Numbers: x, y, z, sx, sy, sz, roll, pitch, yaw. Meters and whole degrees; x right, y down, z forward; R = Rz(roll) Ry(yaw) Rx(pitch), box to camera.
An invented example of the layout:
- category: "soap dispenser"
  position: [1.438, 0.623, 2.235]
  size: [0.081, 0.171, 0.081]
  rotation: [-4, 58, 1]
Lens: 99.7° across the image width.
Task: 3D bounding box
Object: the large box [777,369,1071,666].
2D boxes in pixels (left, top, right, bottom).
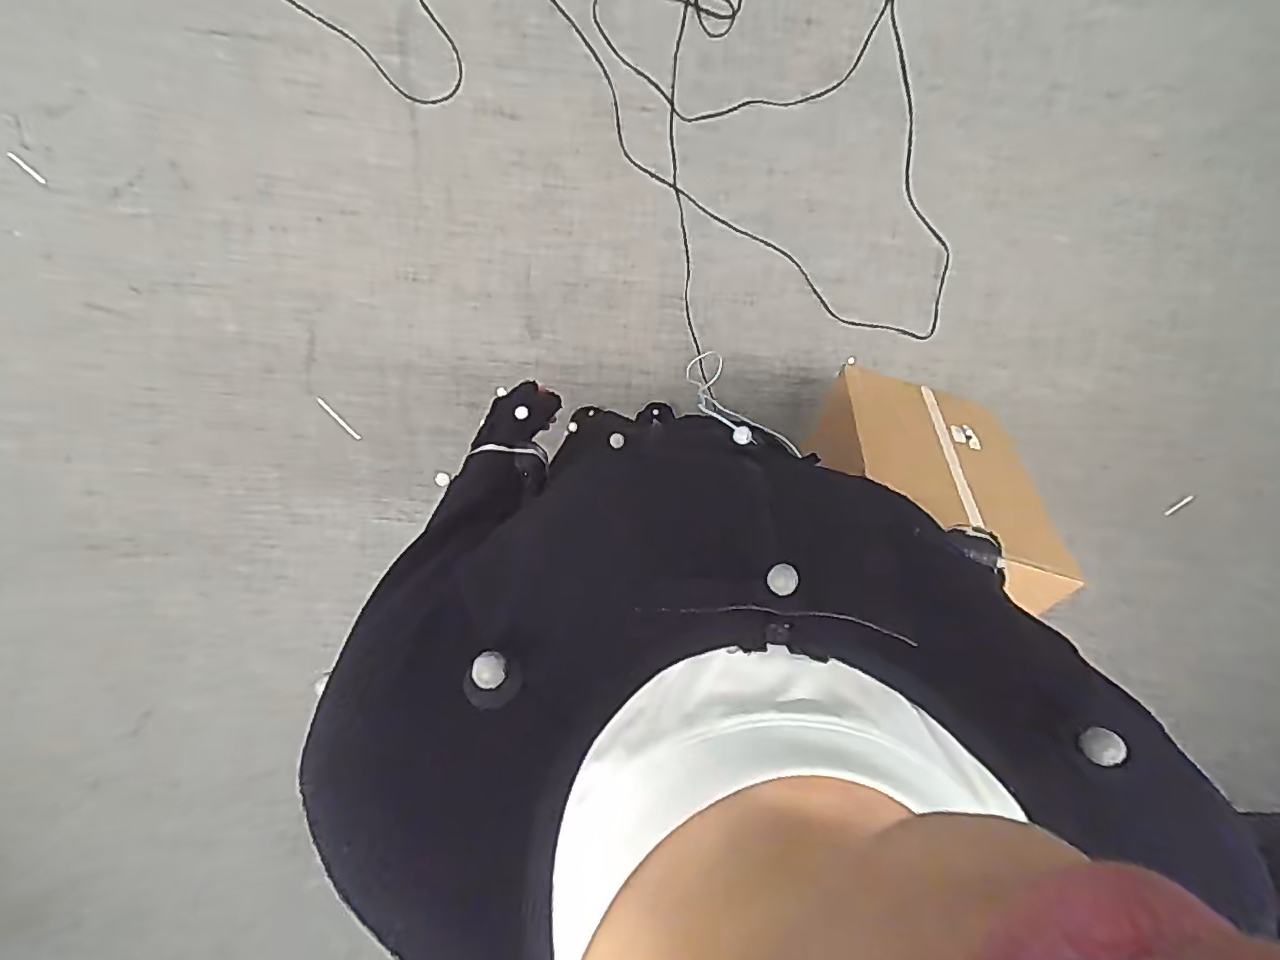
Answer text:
- category: "large box"
  position: [0.458, 0.065, 0.995]
  size: [0.320, 0.408, 0.320]
  rotation: [16, 134, -3]
